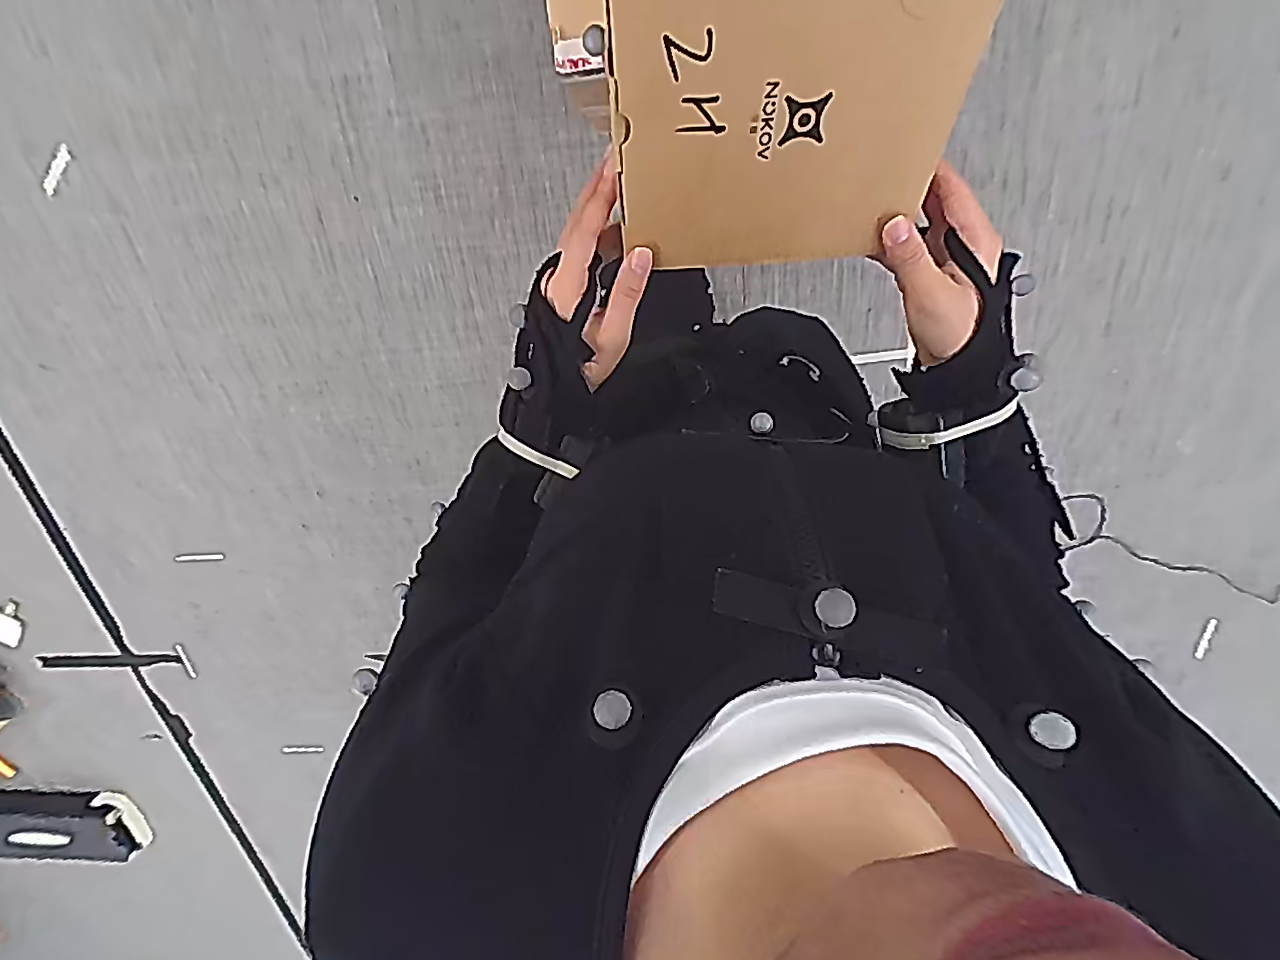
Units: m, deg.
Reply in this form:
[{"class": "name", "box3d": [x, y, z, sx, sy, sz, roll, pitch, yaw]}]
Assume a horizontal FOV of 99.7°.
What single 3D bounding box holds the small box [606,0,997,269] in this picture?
[{"class": "small box", "box3d": [0.071, -0.252, 0.320, 0.179, 0.176, 0.168, -3, 147, 1]}]
